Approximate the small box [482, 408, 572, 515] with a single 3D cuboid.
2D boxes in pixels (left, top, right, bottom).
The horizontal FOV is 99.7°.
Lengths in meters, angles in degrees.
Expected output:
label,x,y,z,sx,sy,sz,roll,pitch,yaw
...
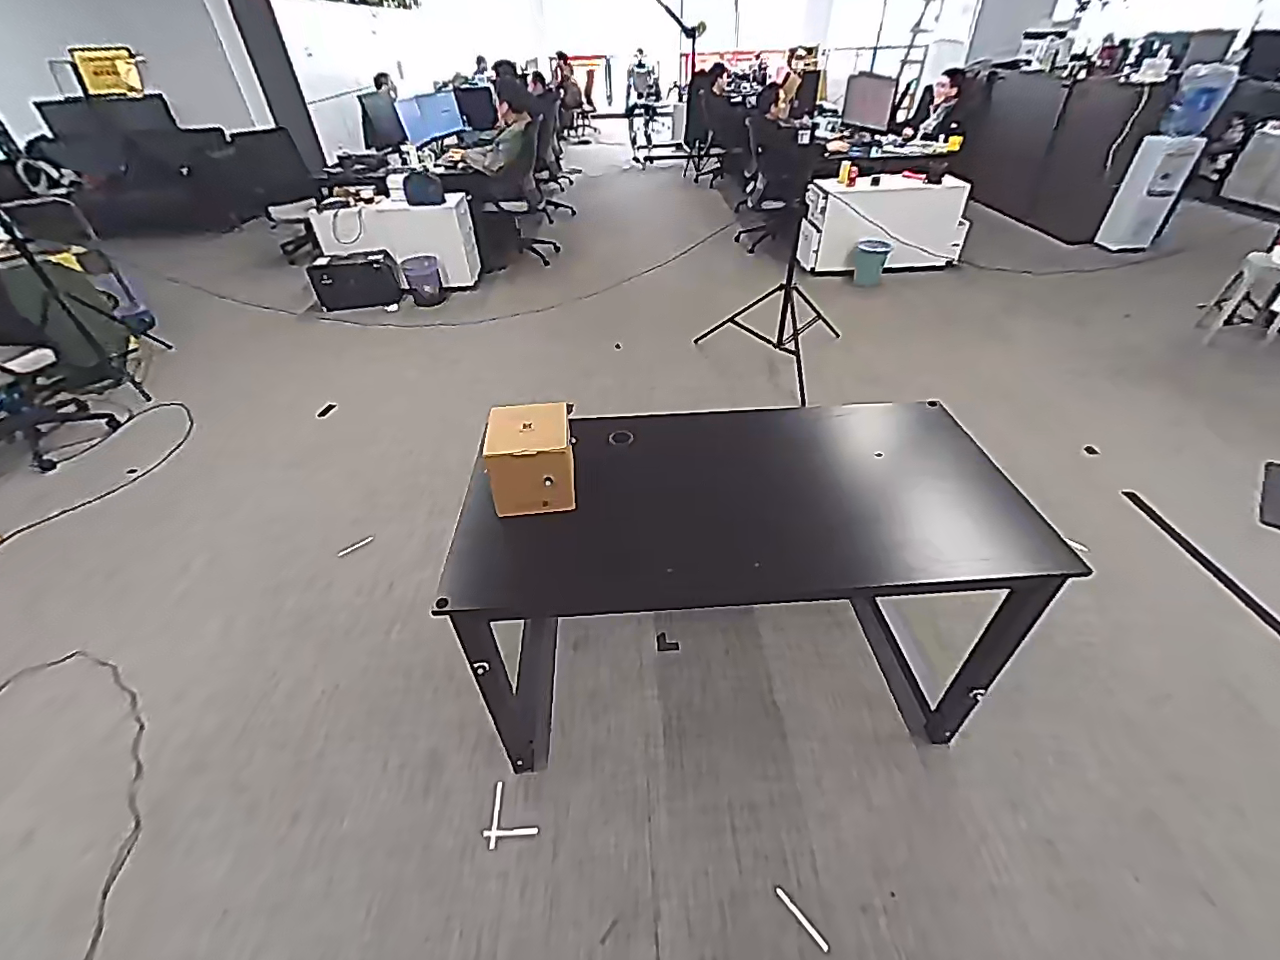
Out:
label,x,y,z,sx,sy,sz,roll,pitch,yaw
small box,-0.238,-0.036,1.174,0.168,0.176,0.179,-5,39,-5
